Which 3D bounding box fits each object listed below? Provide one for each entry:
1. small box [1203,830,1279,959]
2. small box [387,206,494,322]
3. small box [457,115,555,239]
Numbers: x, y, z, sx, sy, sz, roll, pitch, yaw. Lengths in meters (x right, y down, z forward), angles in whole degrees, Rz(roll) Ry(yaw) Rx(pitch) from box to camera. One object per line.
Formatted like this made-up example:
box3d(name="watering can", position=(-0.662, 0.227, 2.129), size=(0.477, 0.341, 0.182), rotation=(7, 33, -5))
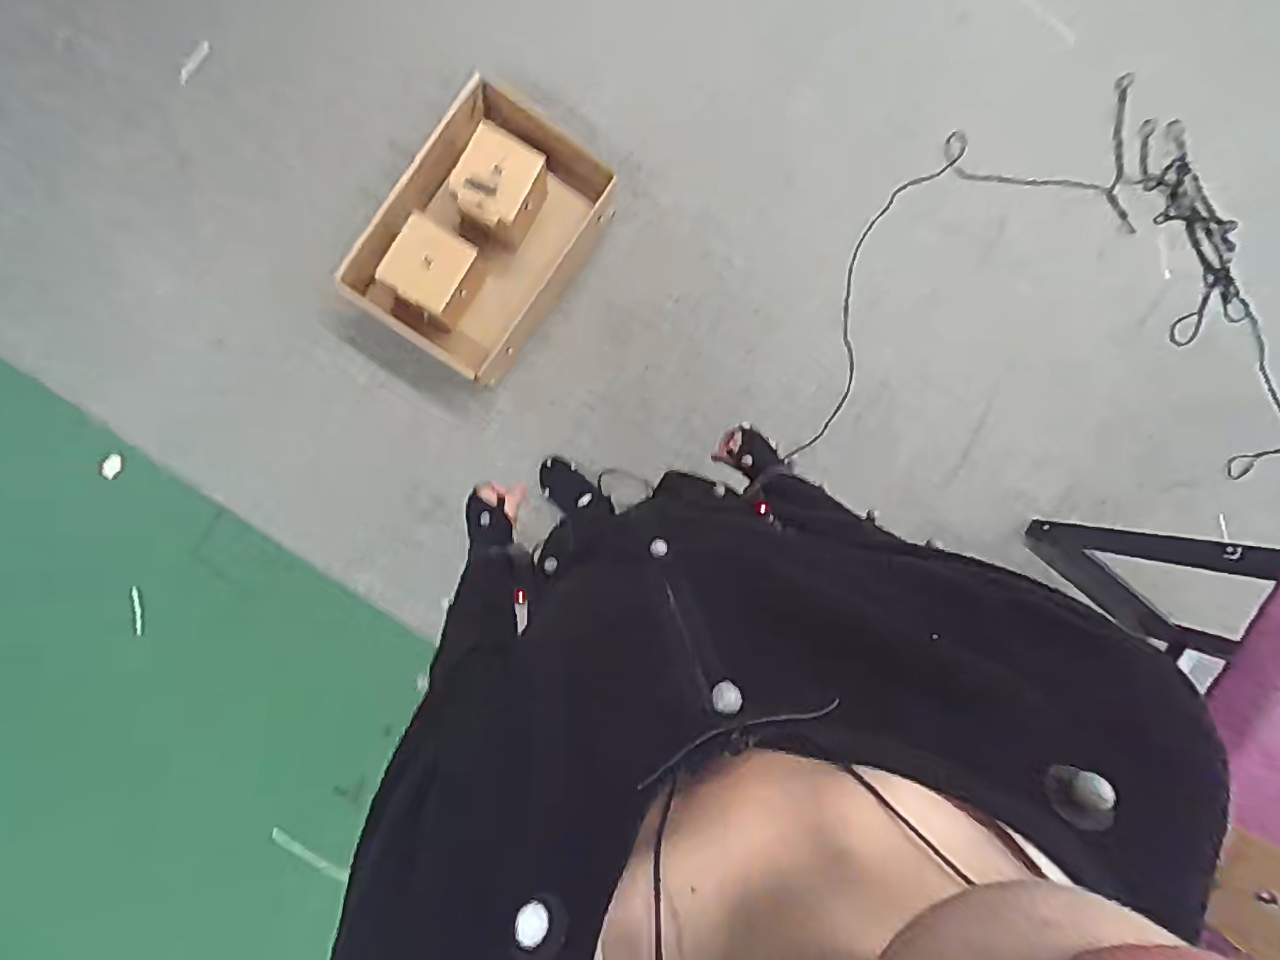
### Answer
box3d(name="small box", position=(1.043, 0.684, 0.826), size=(0.179, 0.176, 0.168), rotation=(37, 89, -7))
box3d(name="small box", position=(-0.474, -0.514, 1.318), size=(0.168, 0.176, 0.179), rotation=(31, 88, -8))
box3d(name="small box", position=(-0.317, -0.728, 1.325), size=(0.168, 0.176, 0.179), rotation=(28, 90, -7))
